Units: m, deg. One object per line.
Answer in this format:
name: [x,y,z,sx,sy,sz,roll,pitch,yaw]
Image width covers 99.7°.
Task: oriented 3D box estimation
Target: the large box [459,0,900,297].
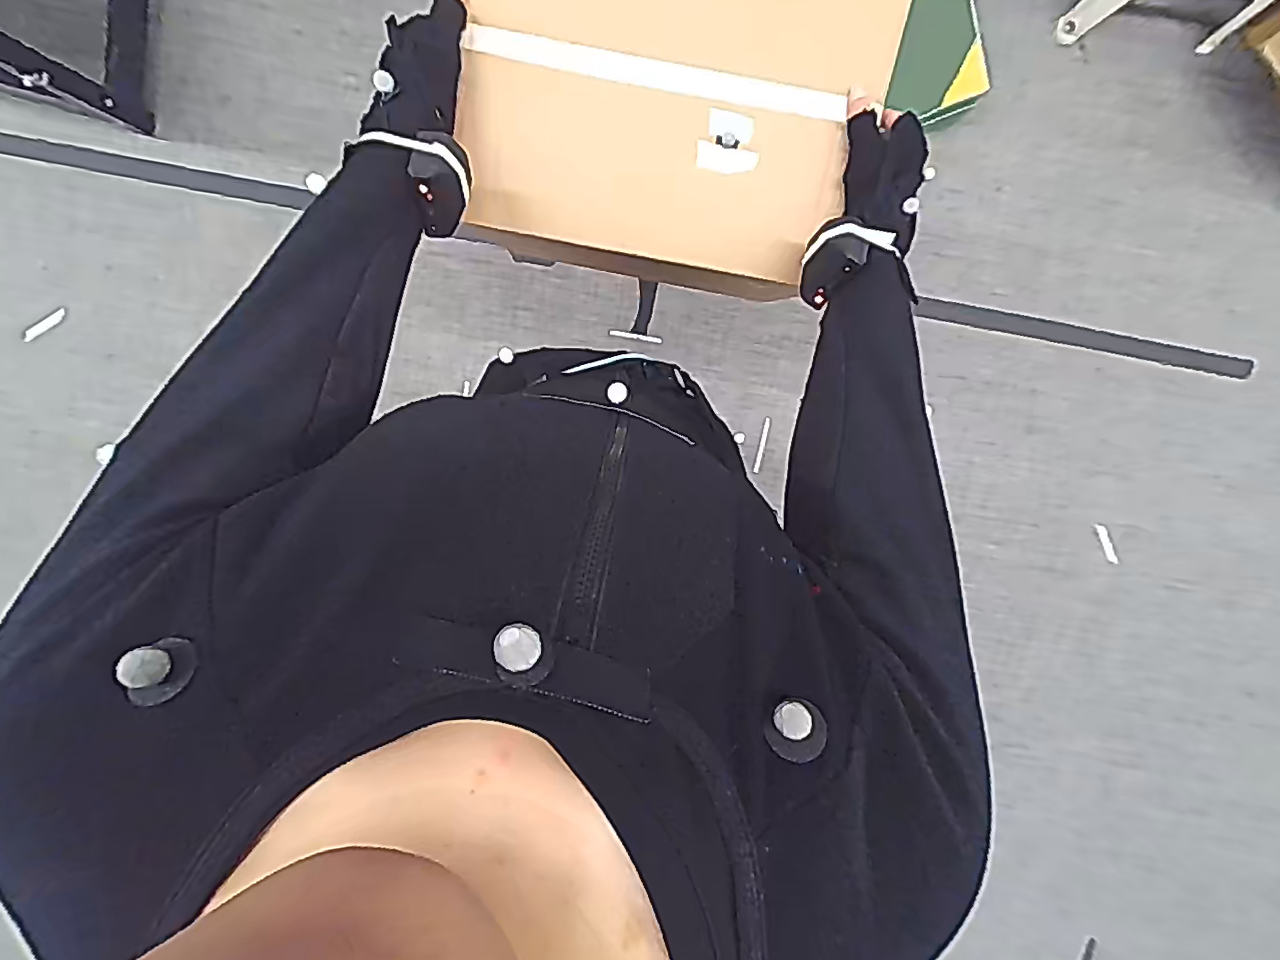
large box: [0.029,-0.422,0.667,0.408,0.320,0.320,9,107,-3]
